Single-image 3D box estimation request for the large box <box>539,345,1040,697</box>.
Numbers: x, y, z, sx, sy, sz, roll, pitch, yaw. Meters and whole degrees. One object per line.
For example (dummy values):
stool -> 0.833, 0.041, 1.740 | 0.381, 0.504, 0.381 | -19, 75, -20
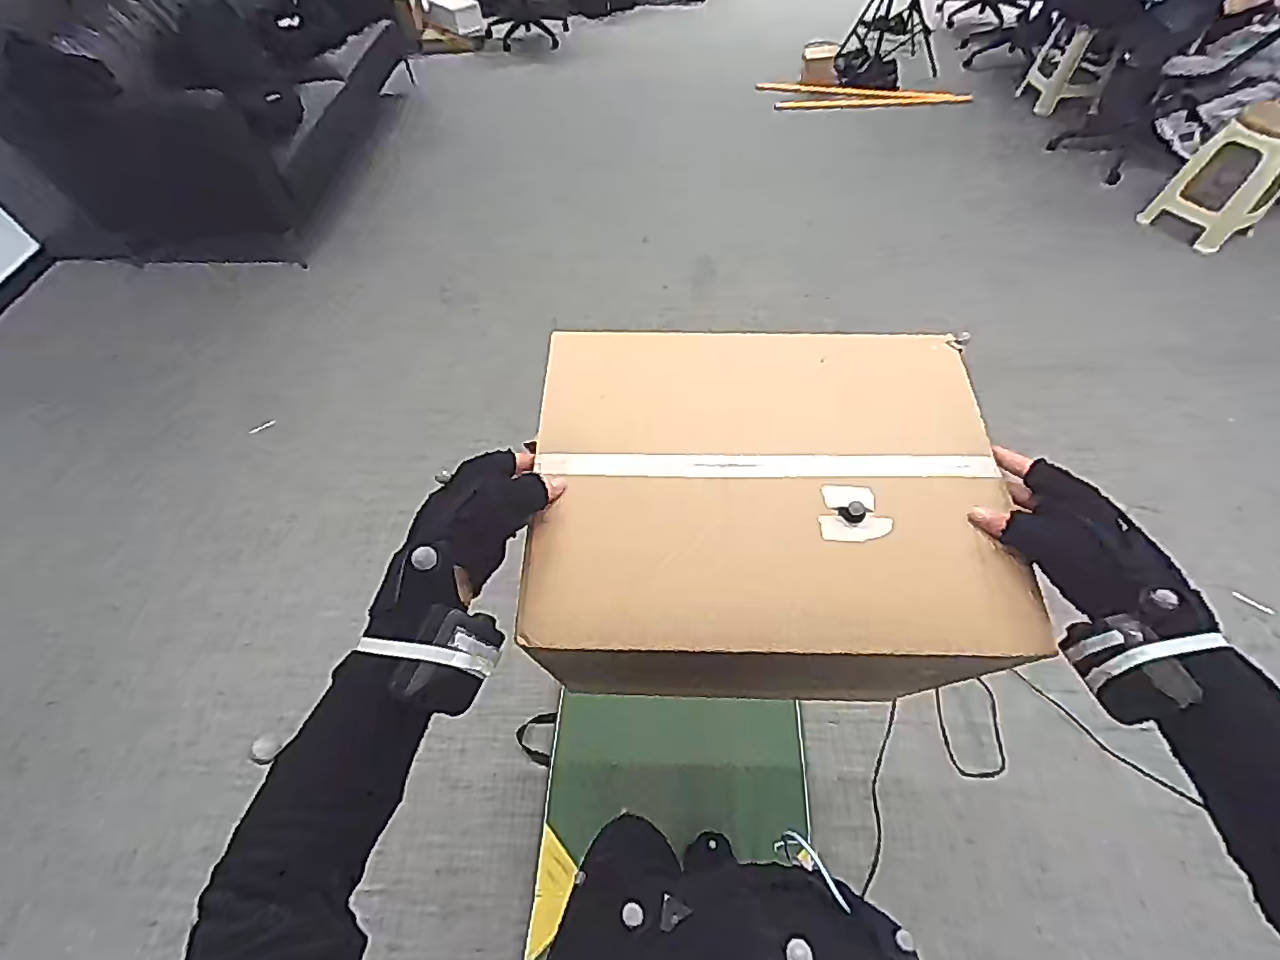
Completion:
large box -> 0.115, 0.065, 0.622 | 0.408, 0.320, 0.320 | 0, 63, 0
